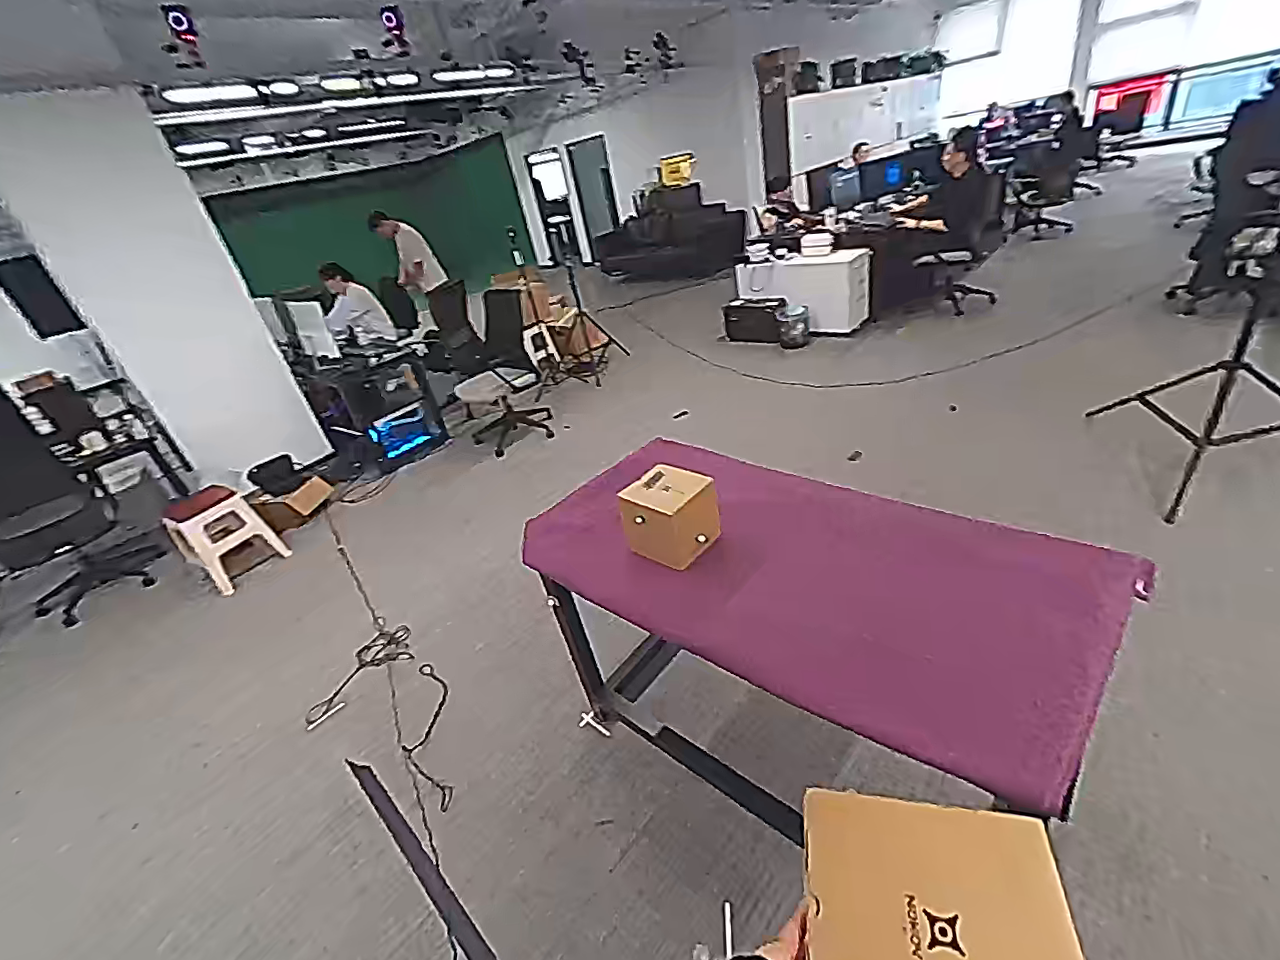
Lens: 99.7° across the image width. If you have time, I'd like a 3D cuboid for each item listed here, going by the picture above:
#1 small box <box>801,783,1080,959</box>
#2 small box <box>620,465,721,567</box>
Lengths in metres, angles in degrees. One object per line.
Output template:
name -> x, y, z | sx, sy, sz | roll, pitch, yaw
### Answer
small box -> 0.221, 0.370, 0.429 | 0.179, 0.176, 0.168 | -2, 41, 17
small box -> 0.079, 0.087, 1.327 | 0.179, 0.176, 0.168 | 18, 42, 41
